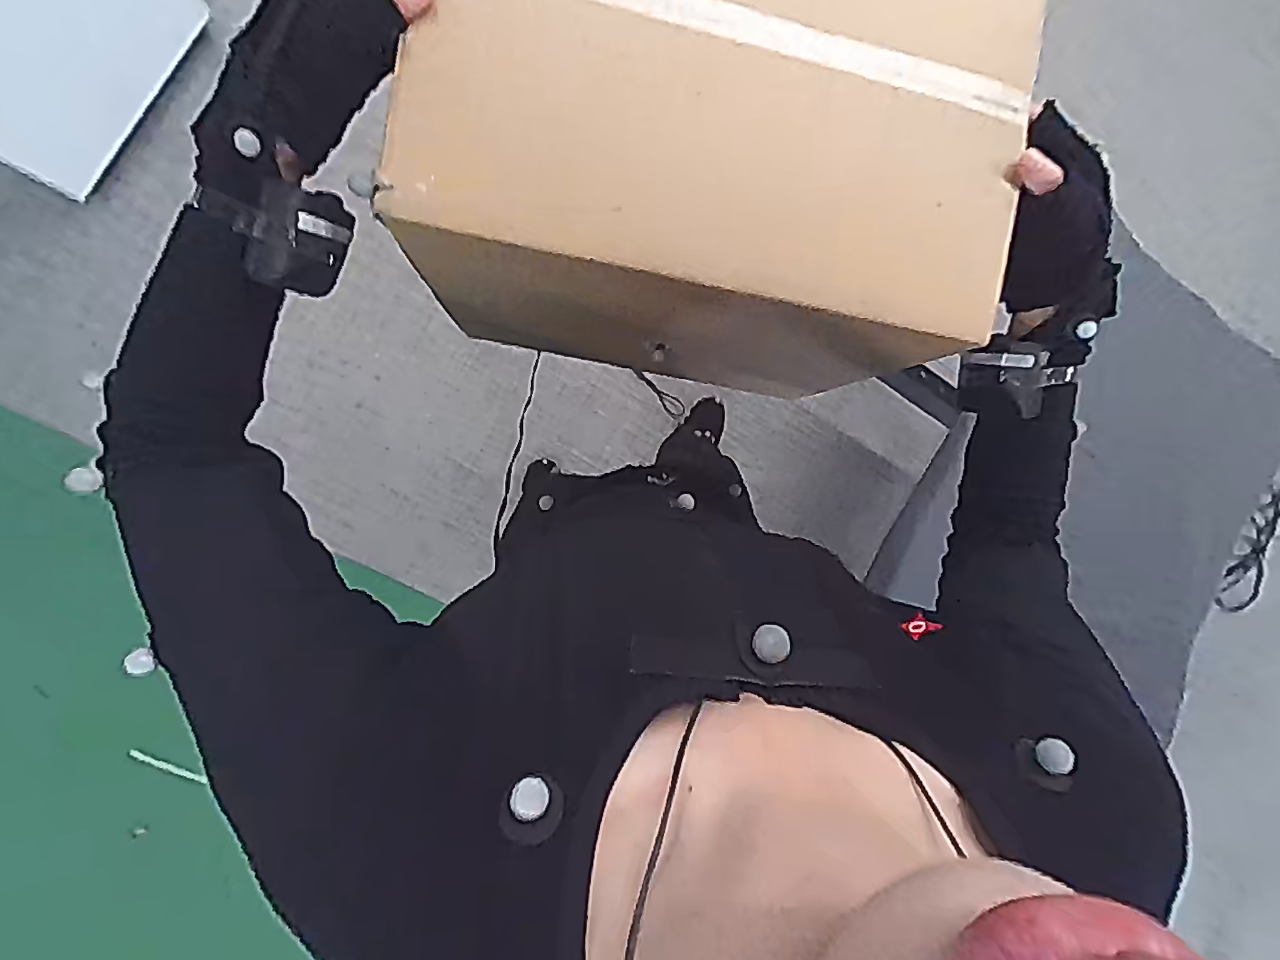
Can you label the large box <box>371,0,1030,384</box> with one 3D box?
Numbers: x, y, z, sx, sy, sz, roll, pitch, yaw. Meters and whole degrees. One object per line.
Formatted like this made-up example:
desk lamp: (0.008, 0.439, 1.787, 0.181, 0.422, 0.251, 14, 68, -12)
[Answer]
large box: (0.039, -0.284, 0.488, 0.408, 0.320, 0.320, 9, 90, -8)
